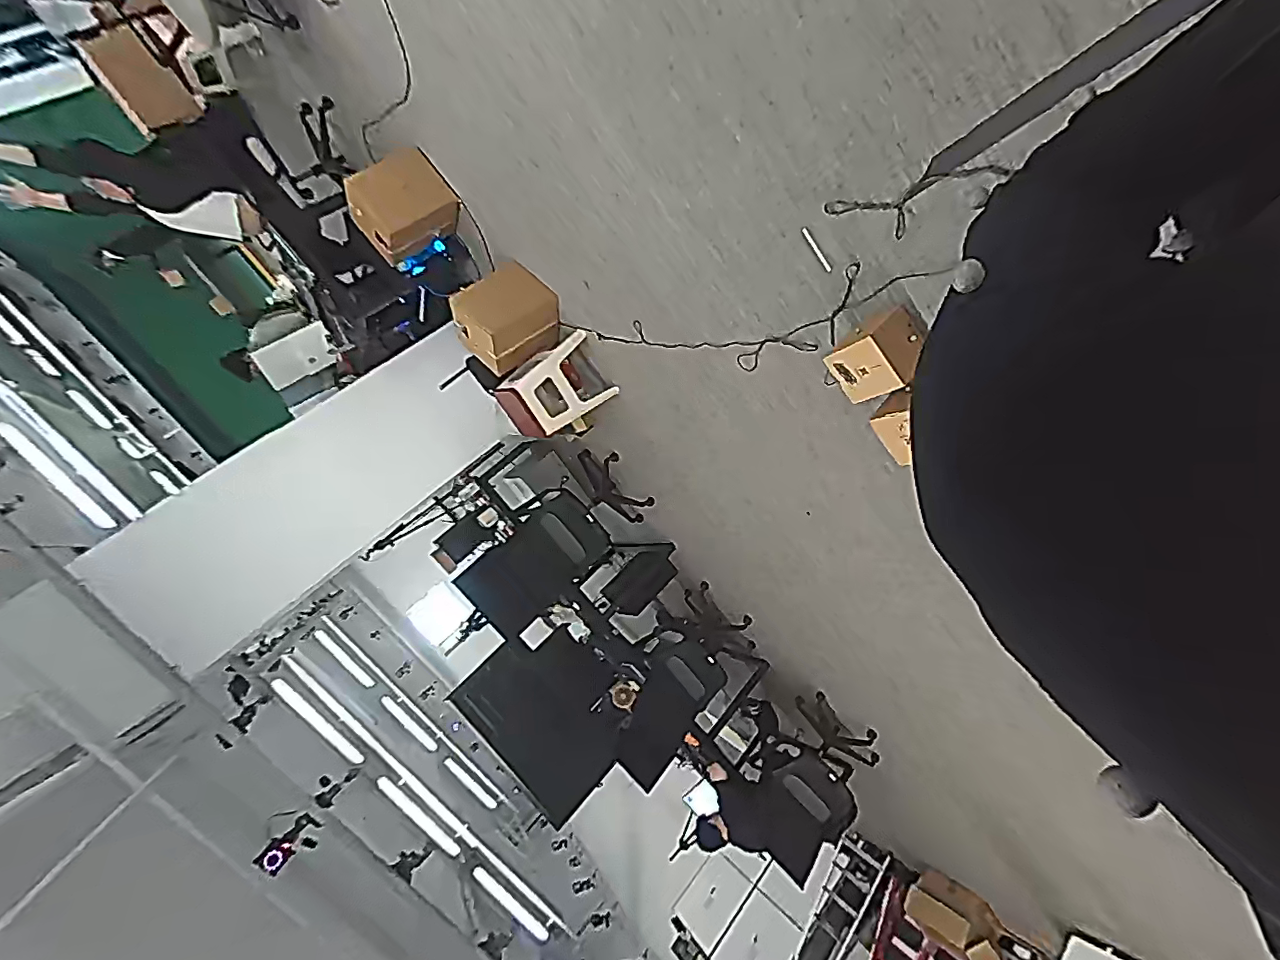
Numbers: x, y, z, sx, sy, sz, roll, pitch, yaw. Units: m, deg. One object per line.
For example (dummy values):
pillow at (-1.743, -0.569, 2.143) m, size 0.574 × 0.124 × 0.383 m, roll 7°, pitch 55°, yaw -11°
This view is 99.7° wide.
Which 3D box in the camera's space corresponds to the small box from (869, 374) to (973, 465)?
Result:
small box at (0.796, -0.167, 1.524) m, size 0.179 × 0.176 × 0.168 m, roll 50°, pitch 156°, yaw -12°

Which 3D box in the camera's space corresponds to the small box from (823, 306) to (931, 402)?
small box at (0.652, -0.344, 1.486) m, size 0.168 × 0.176 × 0.179 m, roll 51°, pitch 156°, yaw -10°
